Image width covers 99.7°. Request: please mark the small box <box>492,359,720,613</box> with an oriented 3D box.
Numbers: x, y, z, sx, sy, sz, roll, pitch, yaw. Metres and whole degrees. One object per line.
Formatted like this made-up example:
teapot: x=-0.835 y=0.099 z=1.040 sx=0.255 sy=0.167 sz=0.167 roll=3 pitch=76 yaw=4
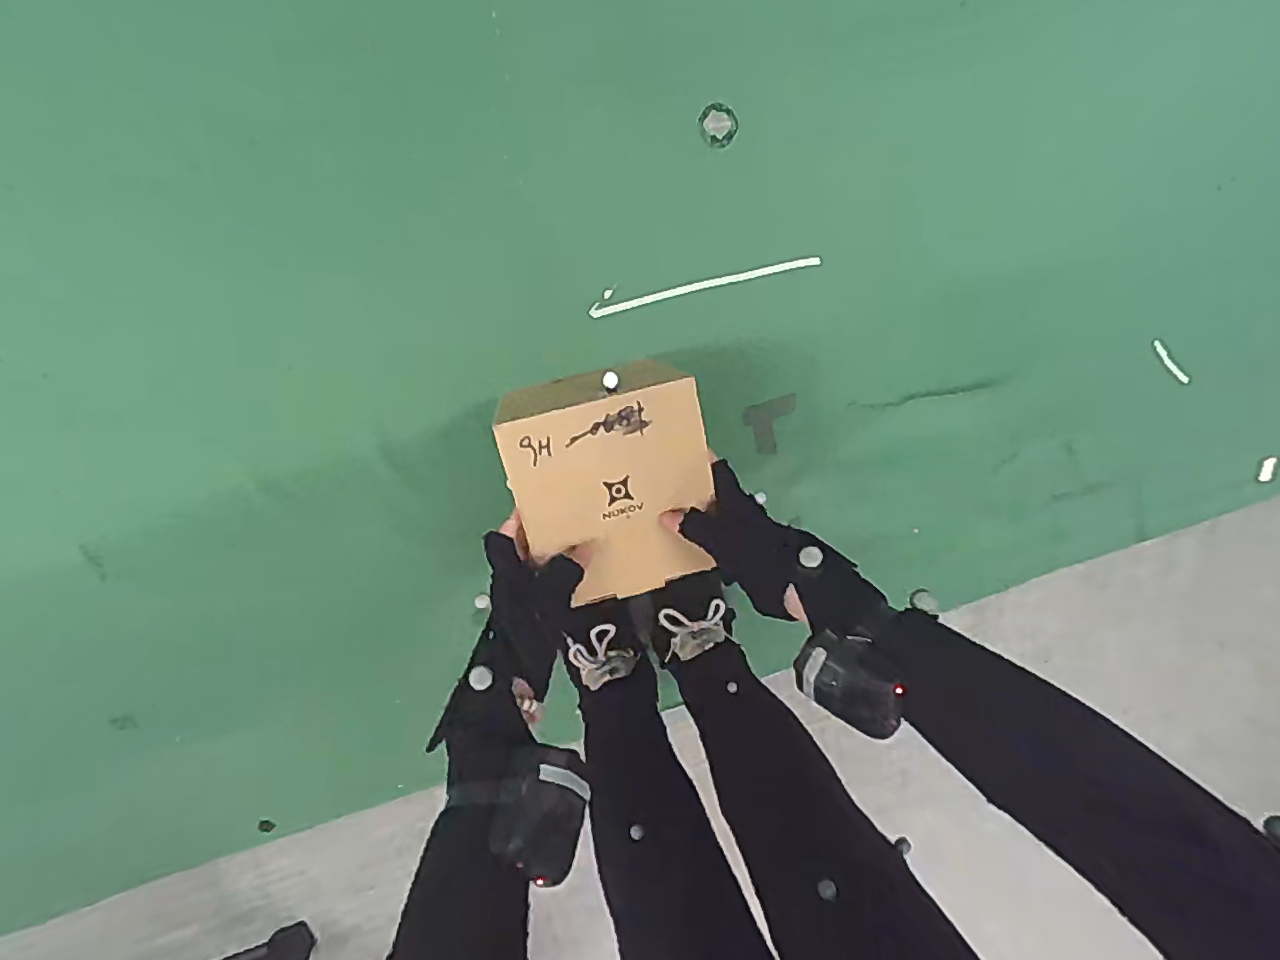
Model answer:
small box: x=-0.035 y=-0.006 z=0.523 sx=0.168 sy=0.176 sz=0.179 roll=-14 pitch=111 yaw=-7
